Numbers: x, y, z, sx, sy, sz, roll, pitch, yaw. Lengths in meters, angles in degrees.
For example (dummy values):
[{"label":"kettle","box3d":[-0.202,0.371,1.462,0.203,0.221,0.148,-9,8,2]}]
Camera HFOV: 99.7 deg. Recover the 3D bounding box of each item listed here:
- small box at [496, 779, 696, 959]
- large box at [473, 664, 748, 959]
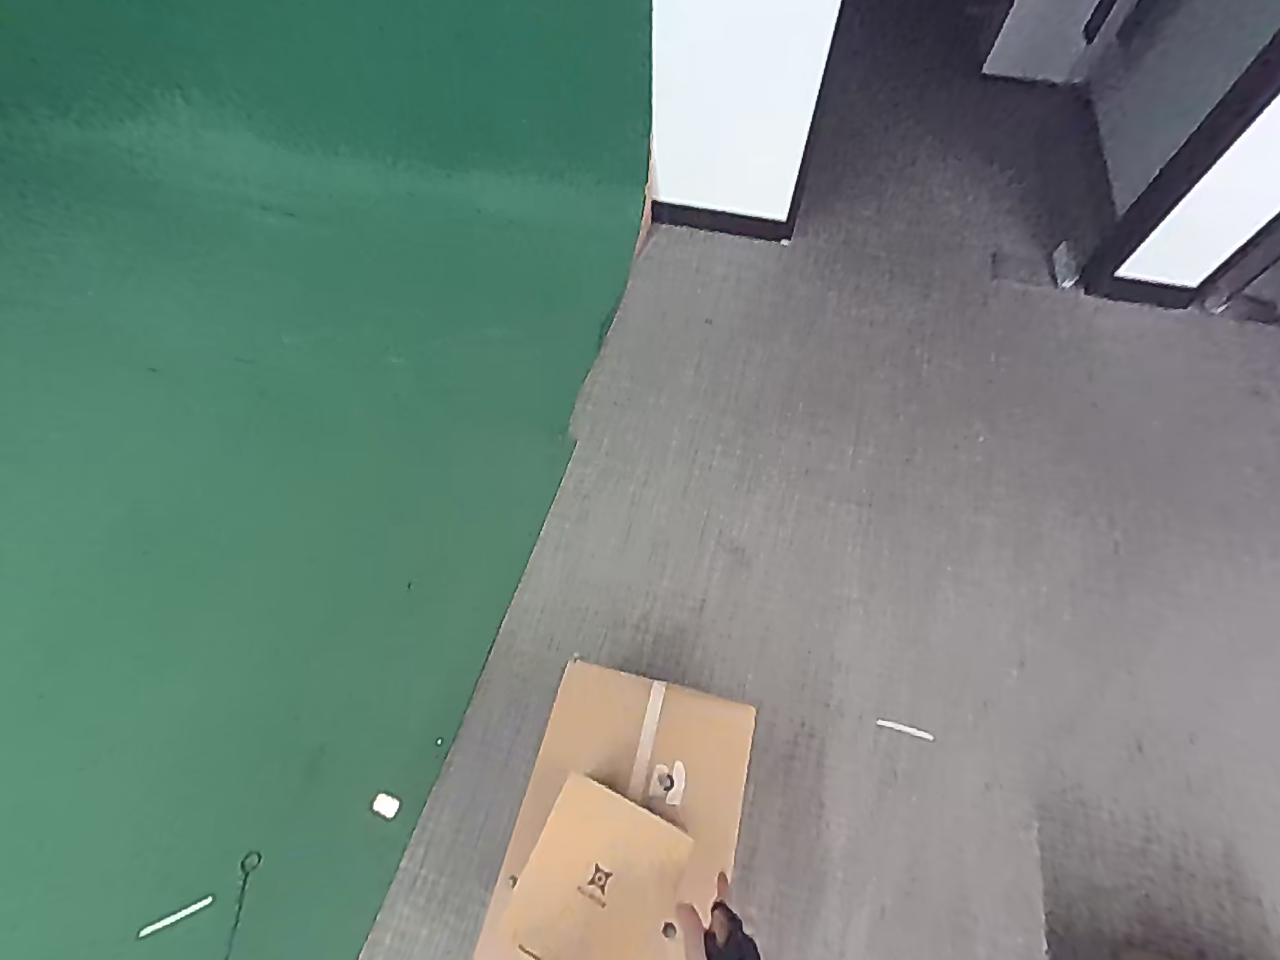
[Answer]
[{"label":"small box","box3d":[-0.045,0.495,0.664,0.168,0.176,0.179,22,64,14]},{"label":"large box","box3d":[-0.022,0.575,0.900,0.320,0.320,0.408,13,60,8]}]
